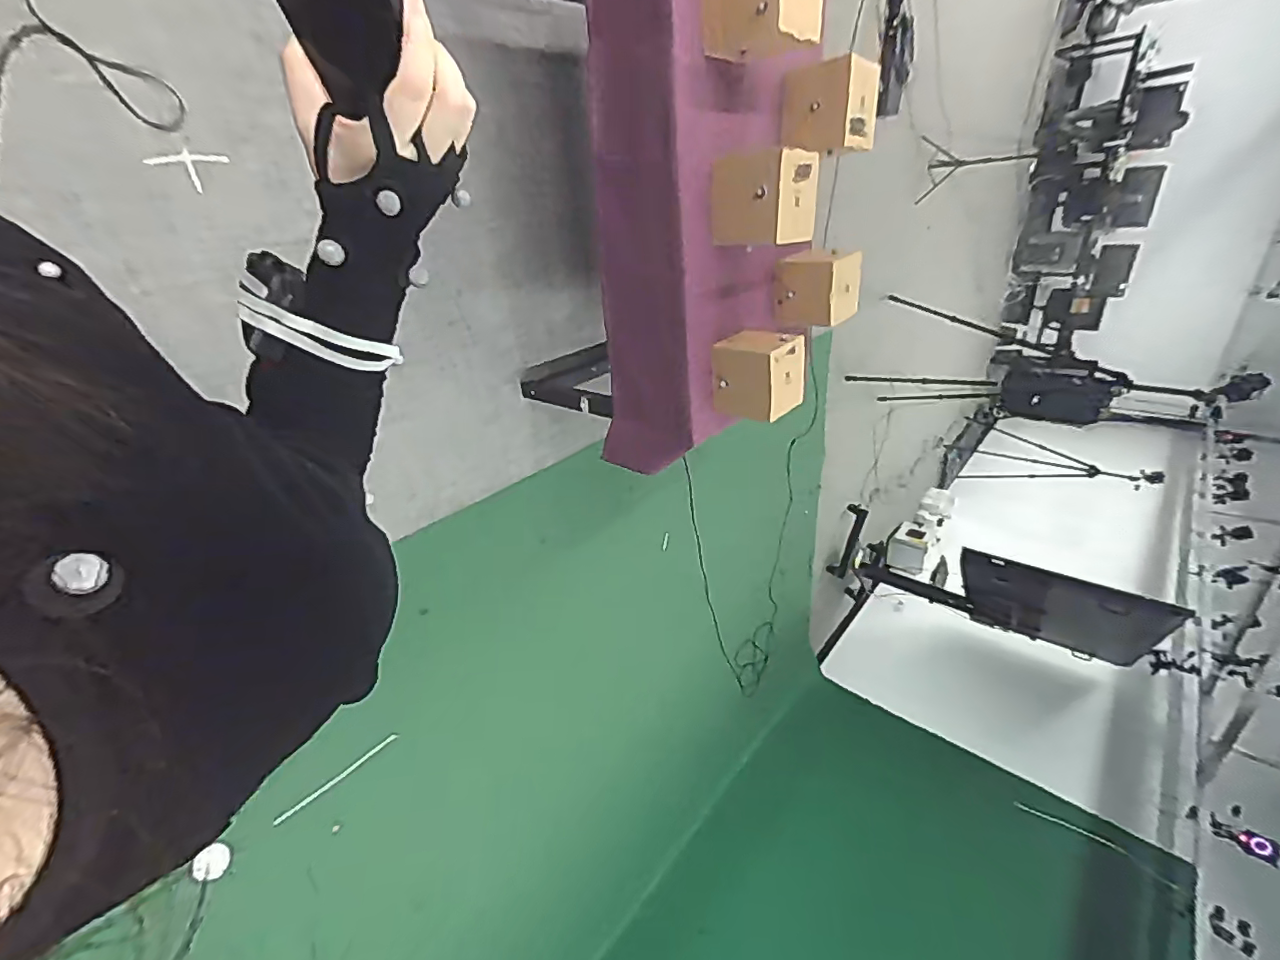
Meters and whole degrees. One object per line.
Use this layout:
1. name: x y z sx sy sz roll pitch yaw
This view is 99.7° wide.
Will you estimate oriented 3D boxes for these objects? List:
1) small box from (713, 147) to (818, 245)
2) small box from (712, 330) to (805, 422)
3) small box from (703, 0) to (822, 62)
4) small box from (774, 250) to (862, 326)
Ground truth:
1. small box: 0.274 -0.620 1.196 0.168 0.176 0.179 -27 125 -41
2. small box: 0.295 -0.268 1.361 0.168 0.176 0.179 -32 128 -39
3. small box: 0.232 -0.926 1.024 0.168 0.176 0.179 -30 127 -40
4. small box: 0.484 -0.531 1.480 0.179 0.176 0.168 -33 127 -37
